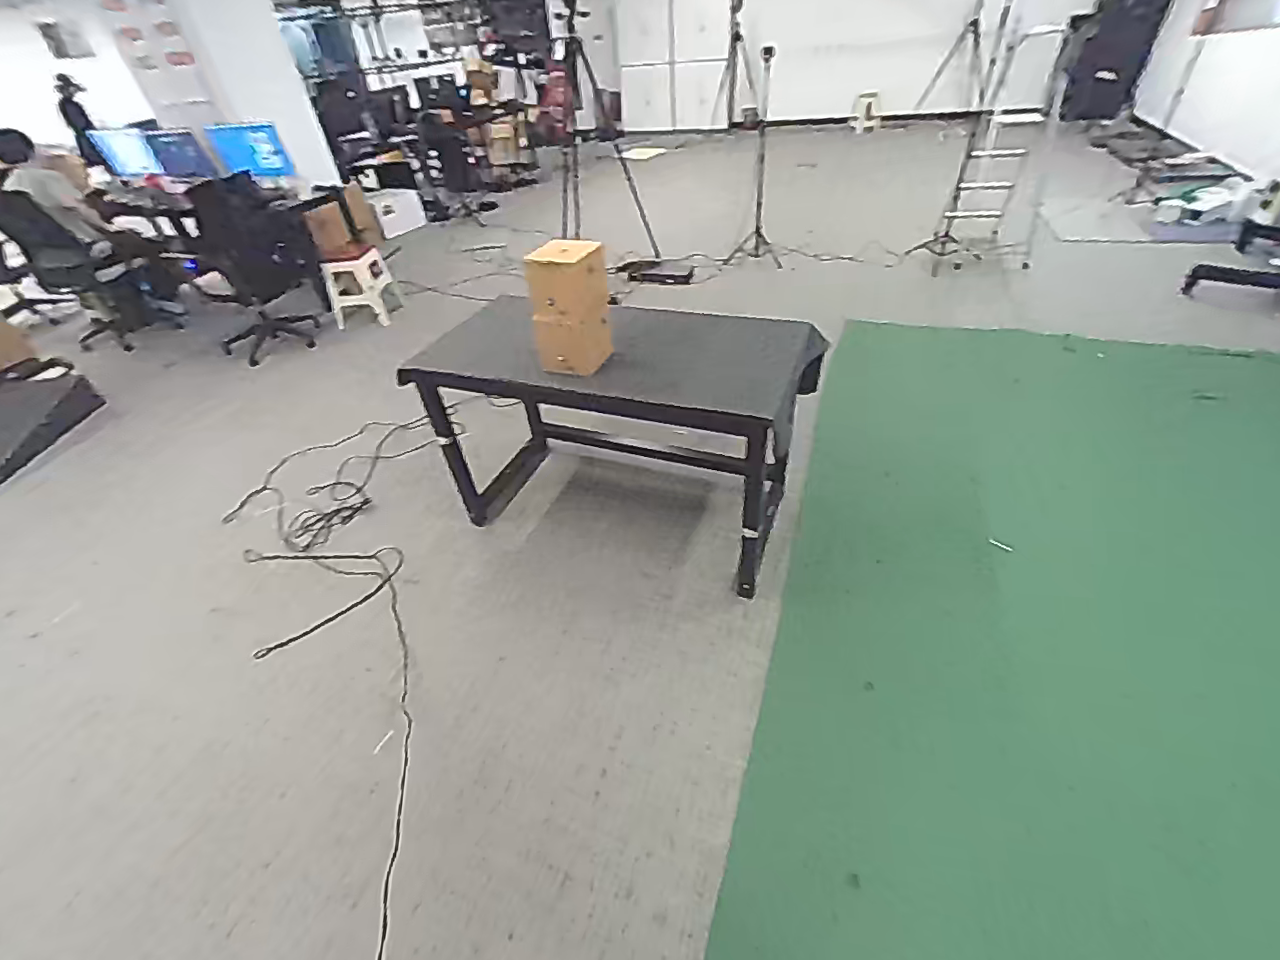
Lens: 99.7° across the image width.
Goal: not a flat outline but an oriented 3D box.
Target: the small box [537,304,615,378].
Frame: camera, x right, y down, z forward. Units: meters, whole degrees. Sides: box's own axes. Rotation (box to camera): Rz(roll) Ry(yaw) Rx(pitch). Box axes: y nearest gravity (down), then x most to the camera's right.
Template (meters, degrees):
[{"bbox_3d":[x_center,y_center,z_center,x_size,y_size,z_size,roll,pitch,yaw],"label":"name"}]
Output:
[{"bbox_3d":[-0.186,-0.430,1.640,0.168,0.176,0.179,11,42,21],"label":"small box"}]

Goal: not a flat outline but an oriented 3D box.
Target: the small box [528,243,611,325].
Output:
[{"bbox_3d":[-0.193,-0.560,1.542,0.168,0.176,0.179,13,43,21],"label":"small box"}]
